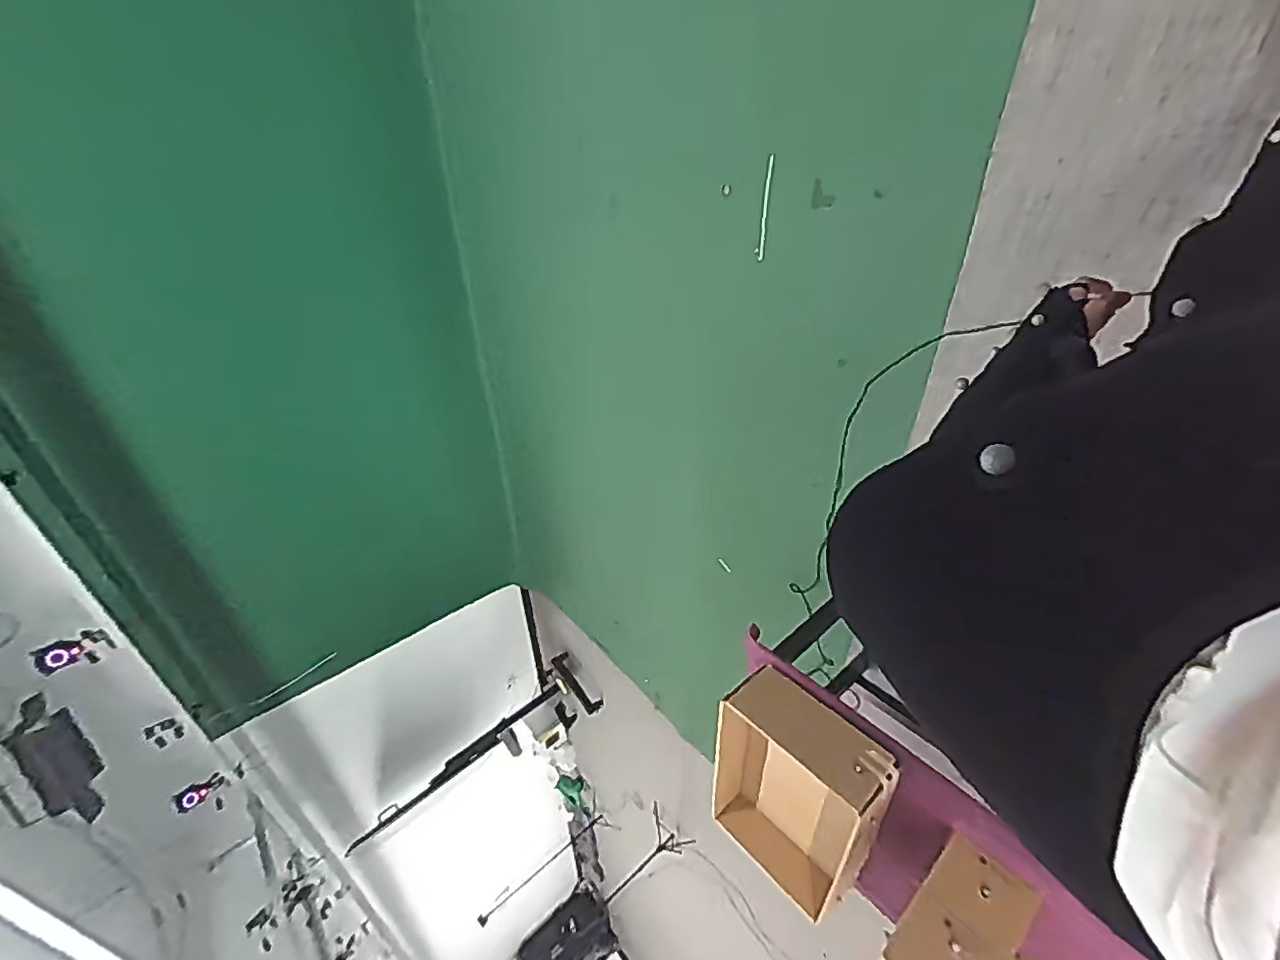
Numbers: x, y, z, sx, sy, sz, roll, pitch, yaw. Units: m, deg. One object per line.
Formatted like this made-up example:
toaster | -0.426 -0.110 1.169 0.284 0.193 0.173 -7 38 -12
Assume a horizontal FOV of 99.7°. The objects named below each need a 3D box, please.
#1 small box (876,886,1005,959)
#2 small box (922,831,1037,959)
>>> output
small box | 0.585 0.966 1.069 0.168 0.176 0.179 31 136 39
small box | 0.709 0.904 1.155 0.168 0.176 0.179 33 137 40
